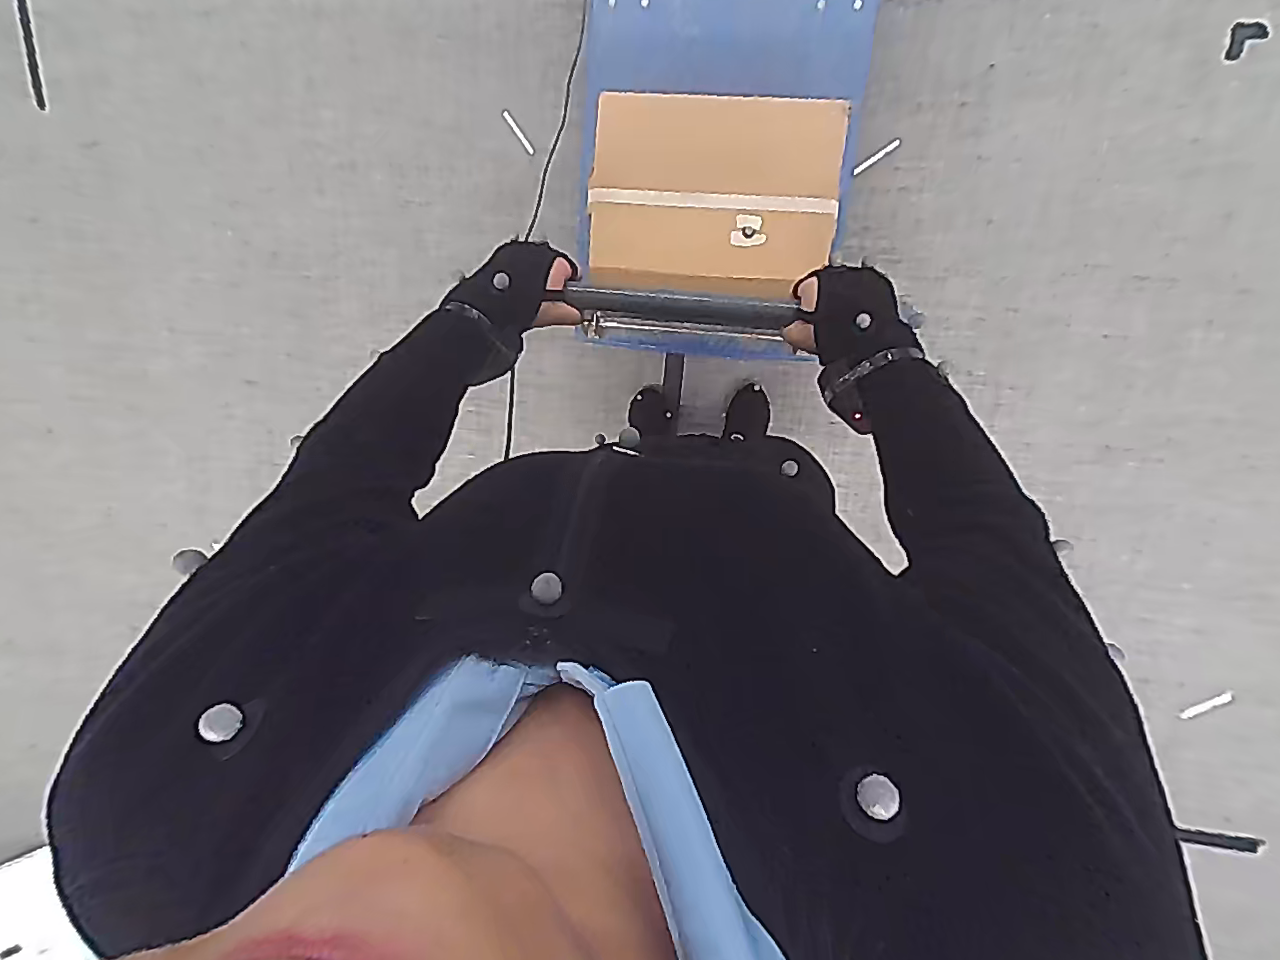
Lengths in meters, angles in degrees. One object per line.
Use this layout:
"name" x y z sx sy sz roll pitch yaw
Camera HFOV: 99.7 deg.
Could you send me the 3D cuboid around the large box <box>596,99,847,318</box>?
"large box" 0.142 -0.498 1.058 0.408 0.320 0.320 6 103 6
